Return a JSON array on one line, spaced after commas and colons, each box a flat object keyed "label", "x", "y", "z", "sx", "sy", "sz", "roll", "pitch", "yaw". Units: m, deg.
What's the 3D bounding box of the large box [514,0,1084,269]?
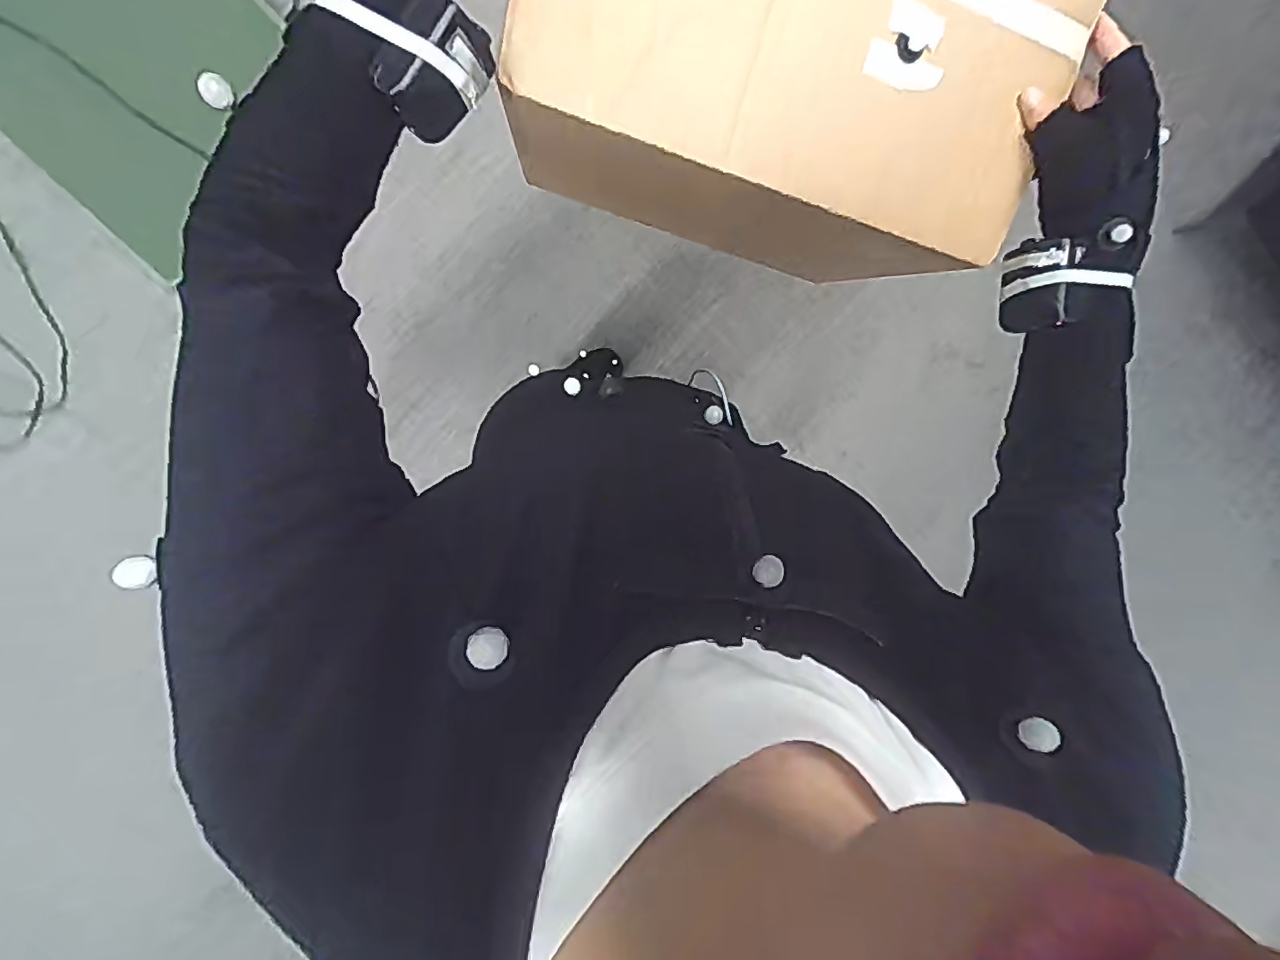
[{"label": "large box", "x": 0.112, "y": -0.417, "z": 0.513, "sx": 0.408, "sy": 0.320, "sz": 0.320, "roll": 11, "pitch": 106, "yaw": -13}]
